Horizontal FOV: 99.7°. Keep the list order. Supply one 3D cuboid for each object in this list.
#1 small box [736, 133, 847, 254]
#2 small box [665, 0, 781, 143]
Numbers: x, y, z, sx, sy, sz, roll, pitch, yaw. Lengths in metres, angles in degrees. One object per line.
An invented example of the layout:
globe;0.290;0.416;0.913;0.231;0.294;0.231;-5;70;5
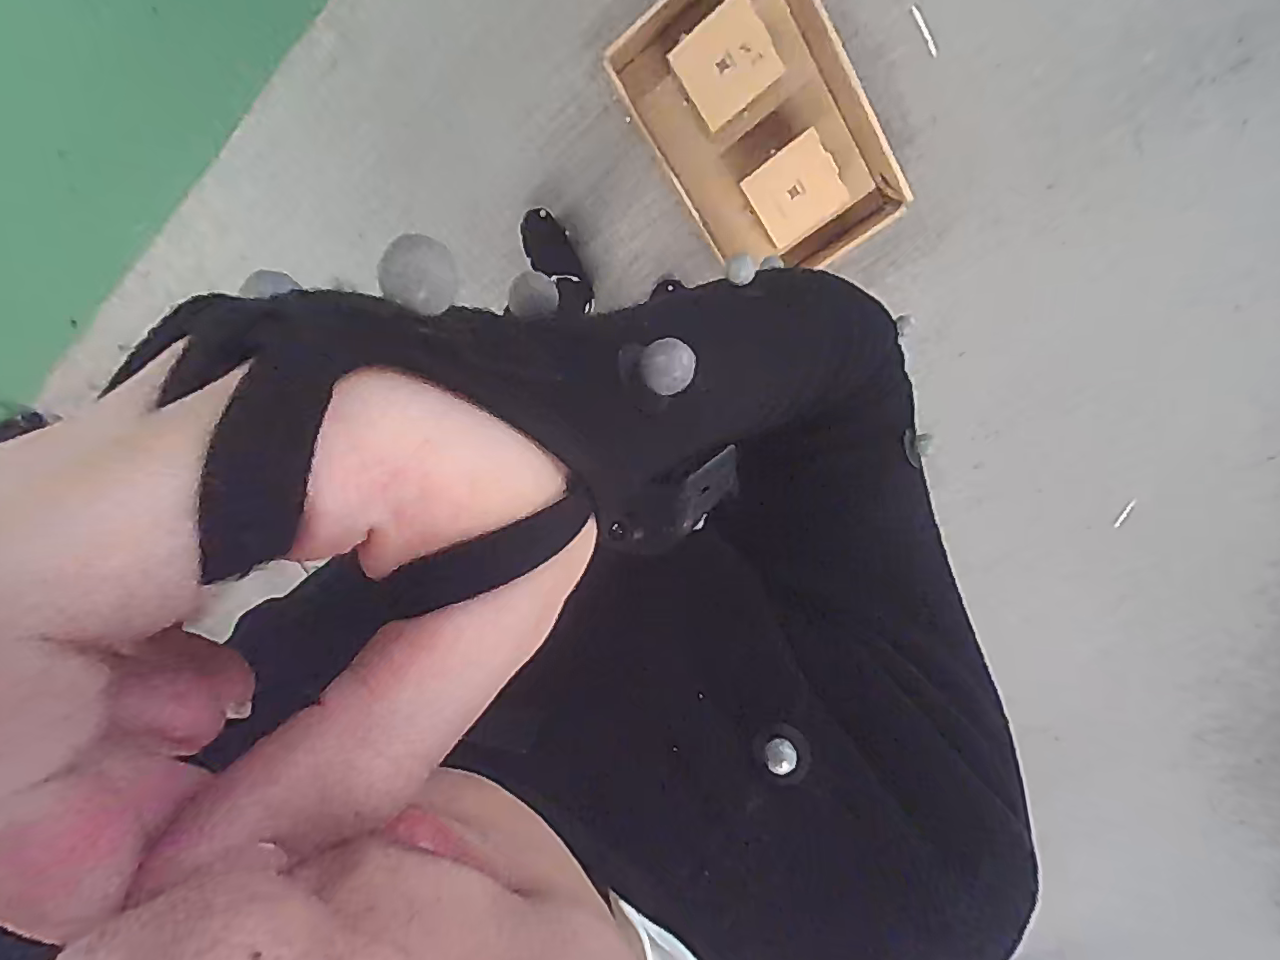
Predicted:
small box;0.330;-0.636;1.216;0.179;0.176;0.168;-31;107;19
small box;0.171;-0.844;1.133;0.179;0.176;0.168;-31;109;18
